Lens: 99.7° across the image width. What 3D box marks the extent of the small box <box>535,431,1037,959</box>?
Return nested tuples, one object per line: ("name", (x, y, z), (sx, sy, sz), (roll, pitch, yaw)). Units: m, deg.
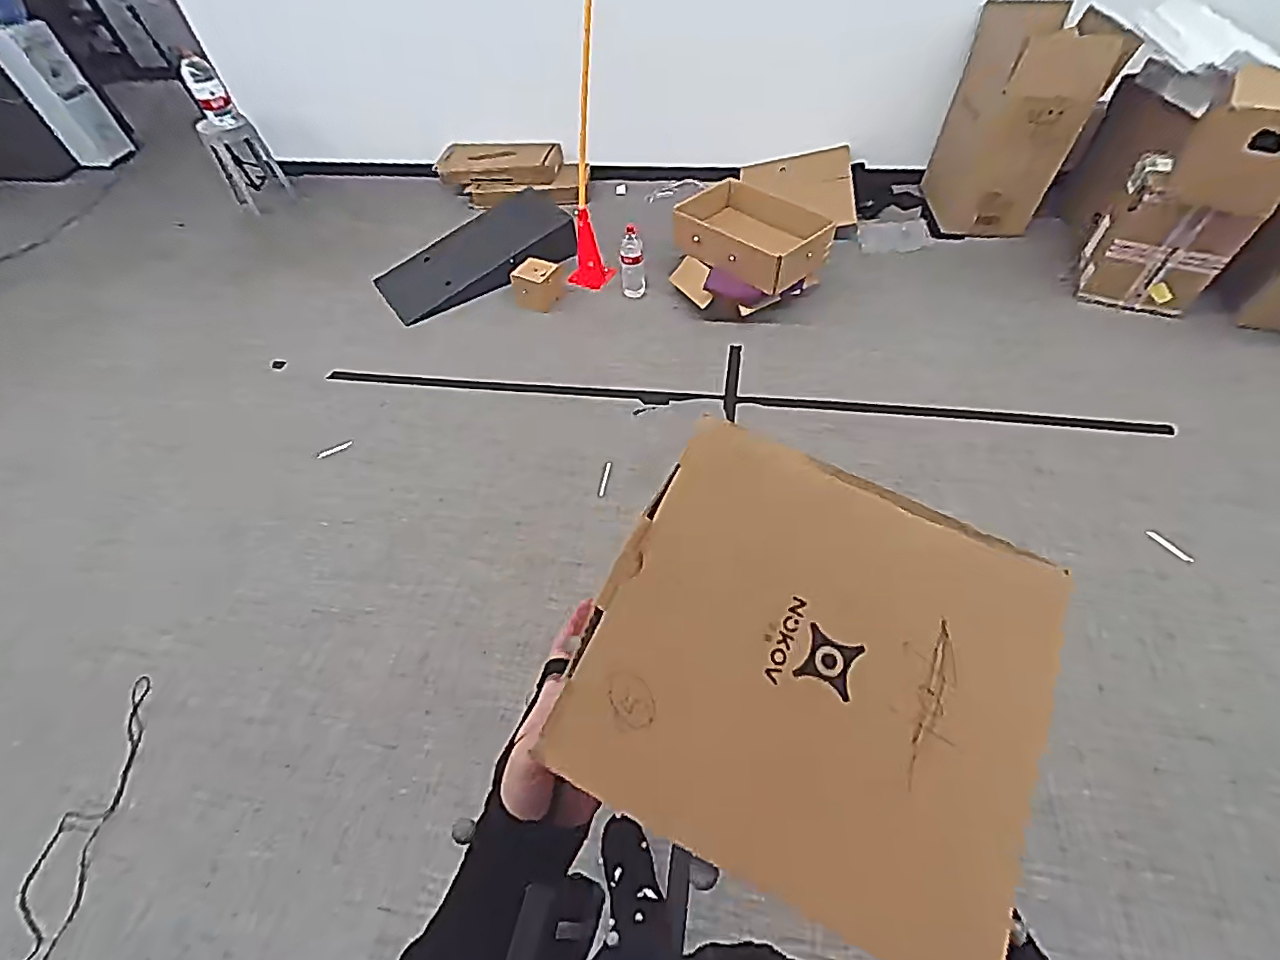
("small box", (0.066, 0.107, 0.304), (0.179, 0.176, 0.168), (25, 69, 8))
